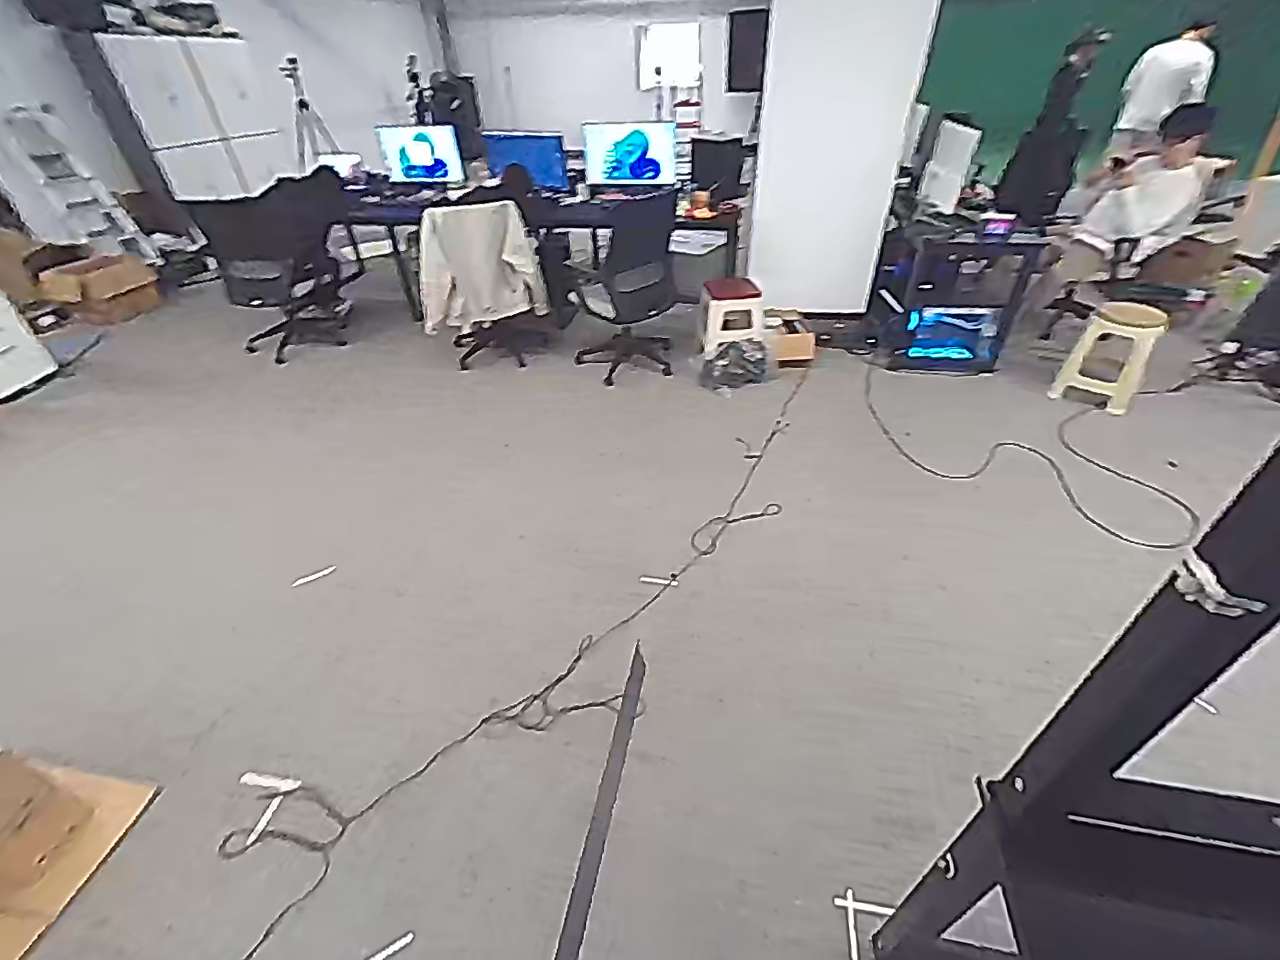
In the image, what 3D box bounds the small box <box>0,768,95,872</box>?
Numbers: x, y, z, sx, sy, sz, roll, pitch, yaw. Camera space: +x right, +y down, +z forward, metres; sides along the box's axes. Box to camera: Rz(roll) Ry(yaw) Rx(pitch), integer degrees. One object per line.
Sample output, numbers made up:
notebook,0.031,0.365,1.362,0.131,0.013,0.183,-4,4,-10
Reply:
small box,-1.525,0.836,1.326,0.179,0.176,0.168,2,38,6
